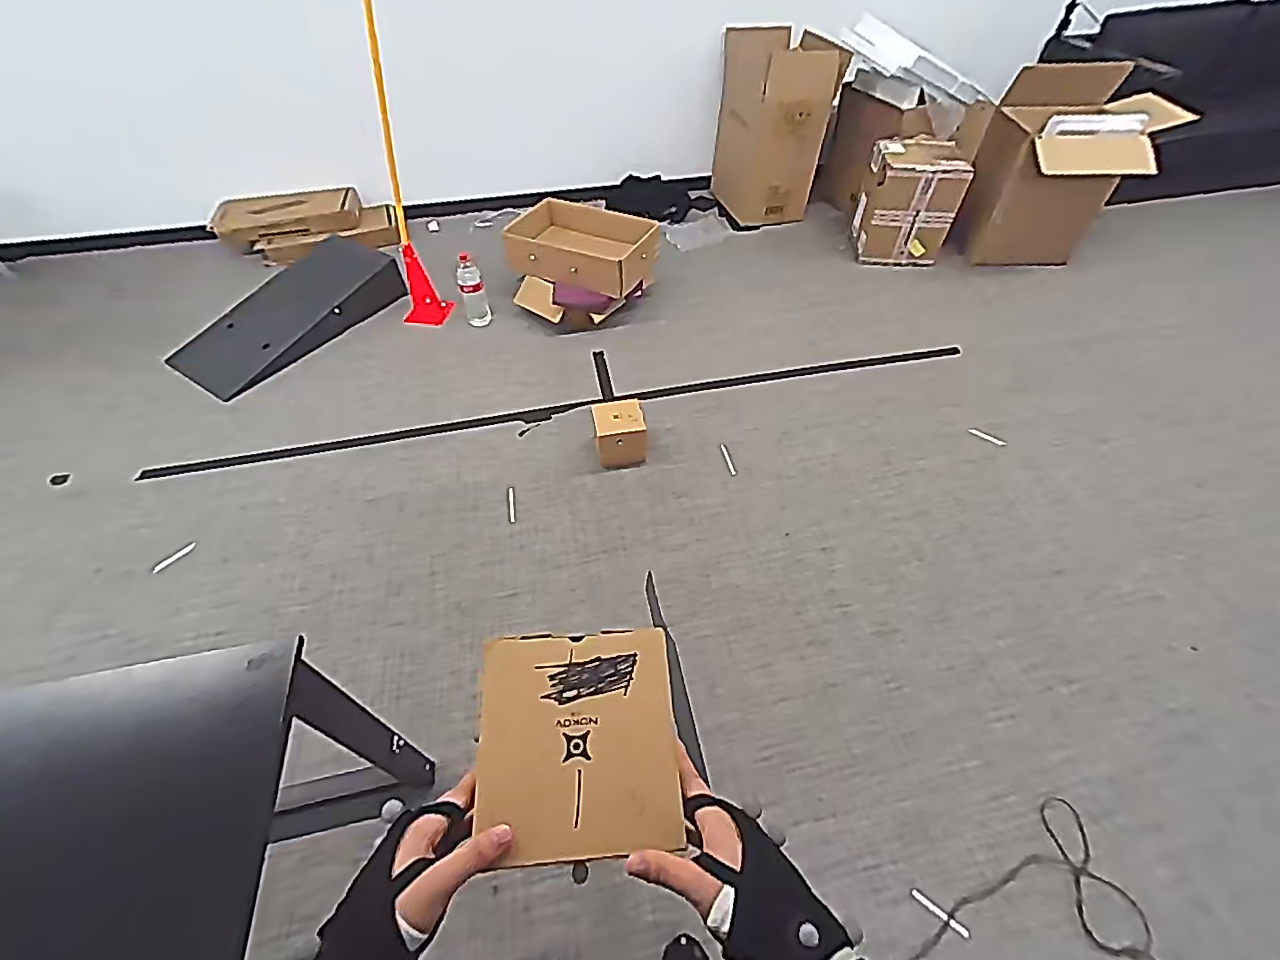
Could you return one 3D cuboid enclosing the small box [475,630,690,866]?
[{"bbox_3d":[-0.051,0.260,0.520,0.168,0.176,0.179,-2,56,-4],"label":"small box"}]

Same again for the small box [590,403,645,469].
[{"bbox_3d":[-0.081,-0.157,1.989,0.179,0.176,0.168,-8,51,-8],"label":"small box"}]
